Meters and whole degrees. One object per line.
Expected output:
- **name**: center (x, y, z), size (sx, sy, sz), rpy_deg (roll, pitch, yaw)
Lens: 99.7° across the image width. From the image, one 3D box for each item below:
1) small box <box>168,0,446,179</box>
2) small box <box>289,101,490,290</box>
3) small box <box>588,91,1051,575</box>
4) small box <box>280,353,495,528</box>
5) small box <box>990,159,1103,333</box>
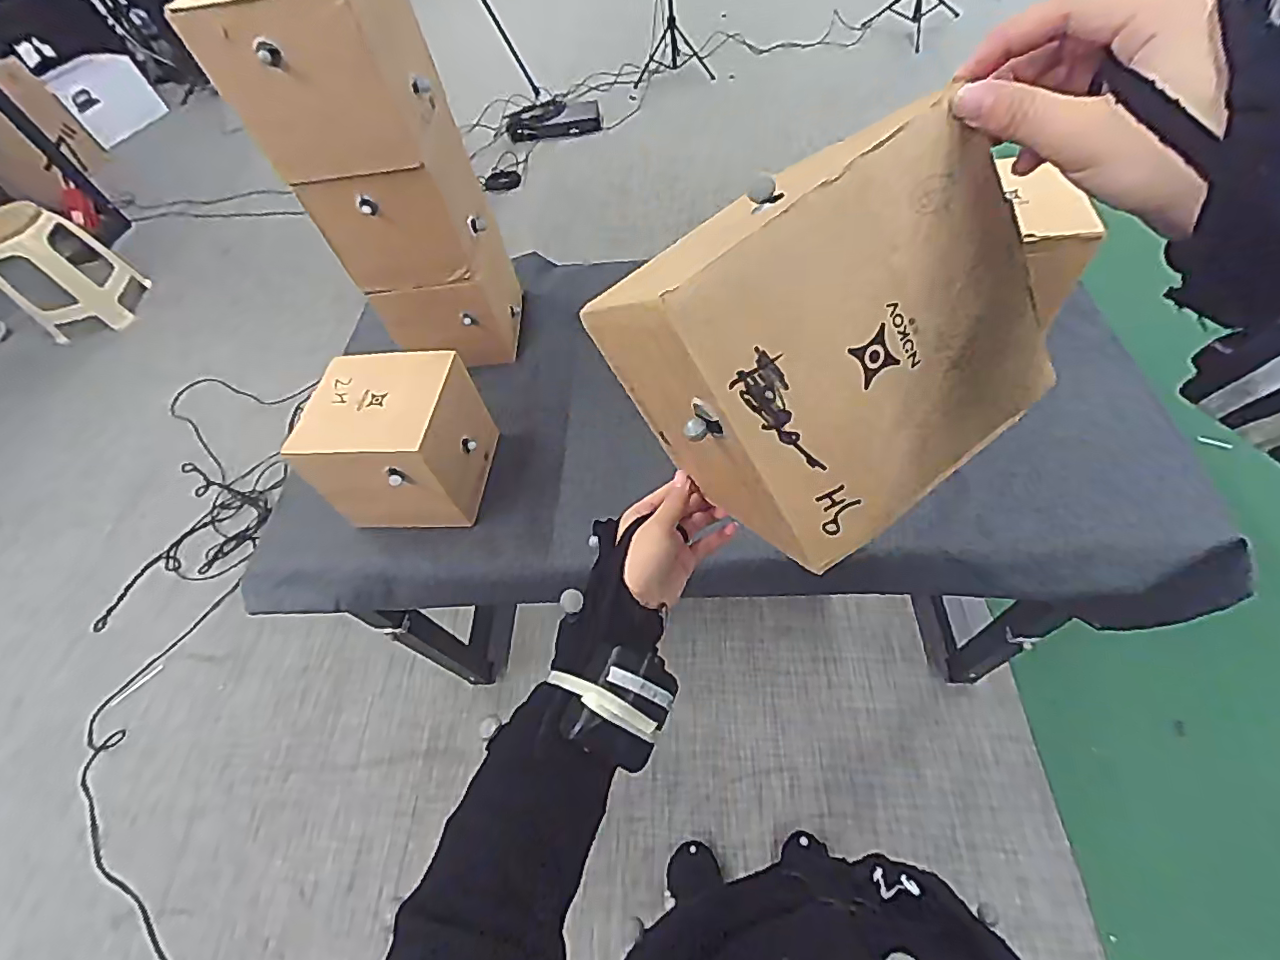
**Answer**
- **small box**: center (-0.345, -0.462, 0.602), size (0.179, 0.176, 0.168), rpy_deg (-4, 59, 5)
- **small box**: center (-0.328, -0.383, 0.746), size (0.179, 0.176, 0.168), rpy_deg (-5, 59, 4)
- **small box**: center (0.092, -0.081, 0.332), size (0.179, 0.168, 0.176), rpy_deg (-37, 21, -7)
- **small box**: center (-0.312, -0.047, 0.716), size (0.179, 0.176, 0.168), rpy_deg (-1, 54, 8)
- **small box**: center (0.491, -0.321, 0.769), size (0.168, 0.176, 0.179), rpy_deg (-1, 59, 9)
